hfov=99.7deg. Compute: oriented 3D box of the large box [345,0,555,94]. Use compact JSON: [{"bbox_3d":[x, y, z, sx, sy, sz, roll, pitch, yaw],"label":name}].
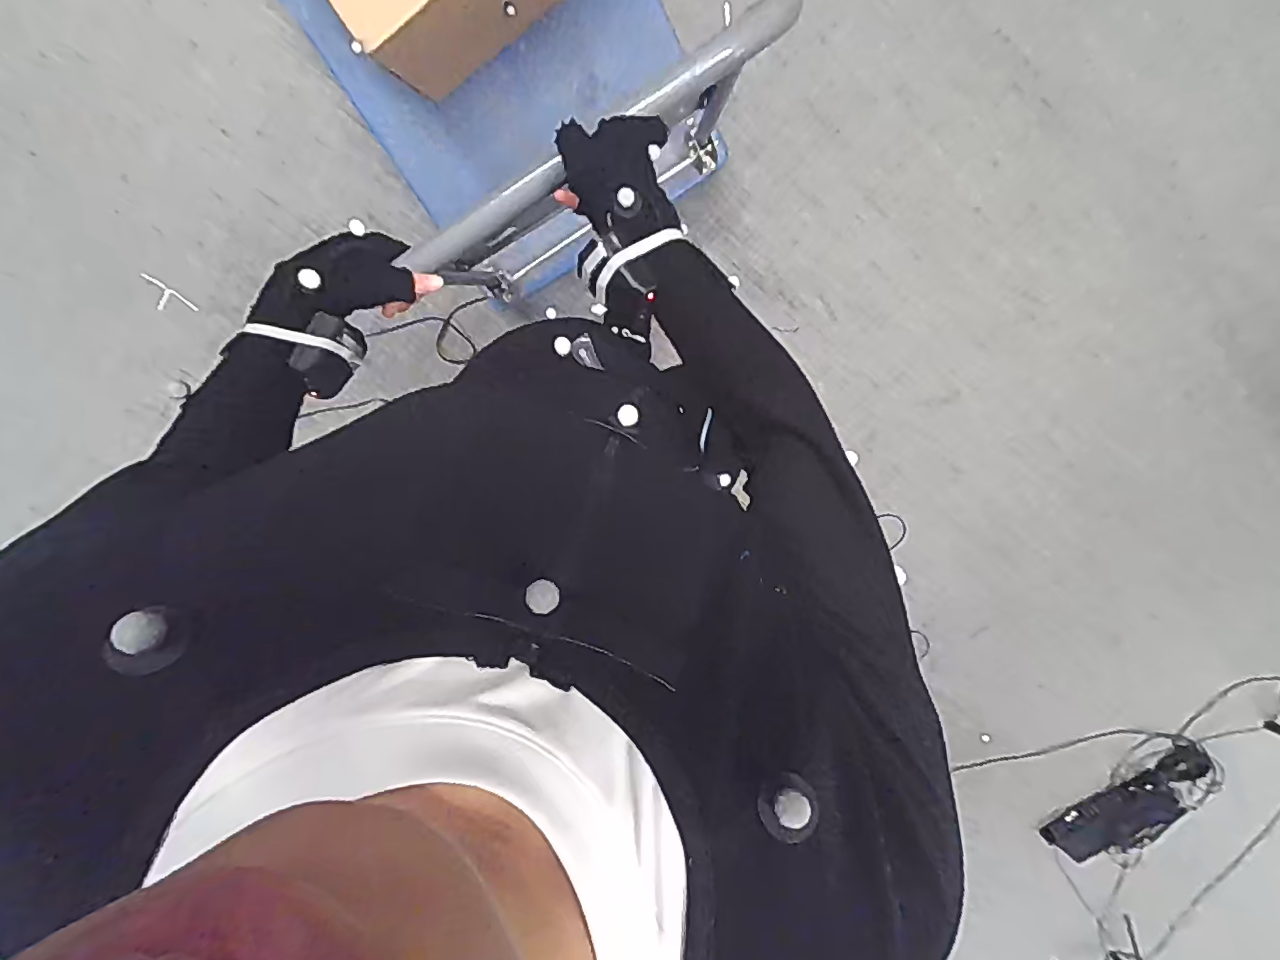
[{"bbox_3d":[-0.281,-0.872,0.789,0.408,0.320,0.320,-31,112,12],"label":"large box"}]
